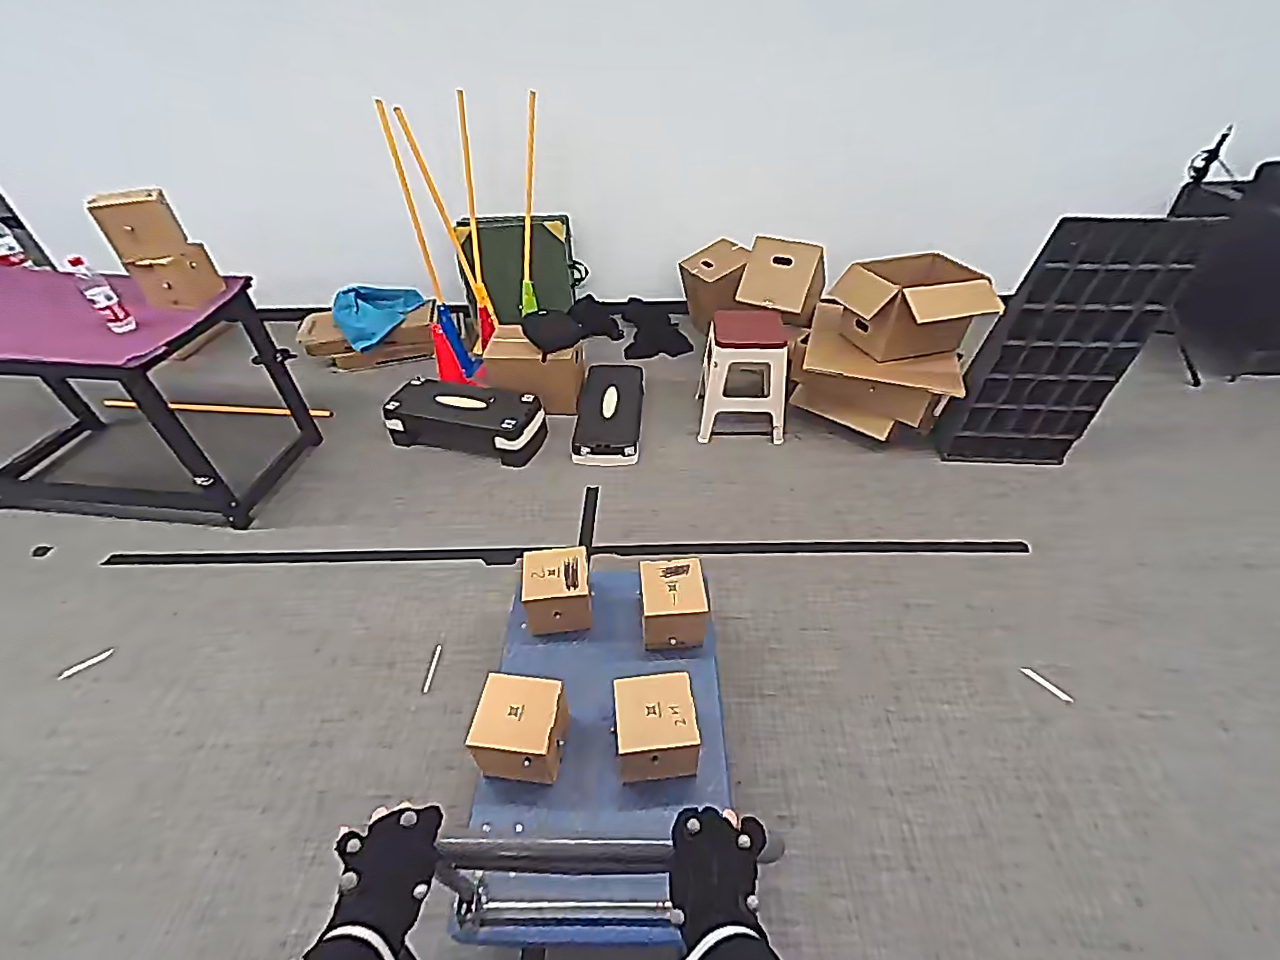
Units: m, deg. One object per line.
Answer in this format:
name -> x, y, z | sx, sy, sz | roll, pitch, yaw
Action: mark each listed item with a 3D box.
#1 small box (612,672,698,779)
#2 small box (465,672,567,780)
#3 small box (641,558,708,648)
small box -> 0.032, 0.560, 1.228 | 0.179, 0.176, 0.168 | -4, 43, -3
small box -> -0.272, 0.562, 1.233 | 0.179, 0.176, 0.168 | 5, 43, 5
small box -> 0.087, 0.334, 1.473 | 0.168, 0.176, 0.179 | -3, 44, -2
